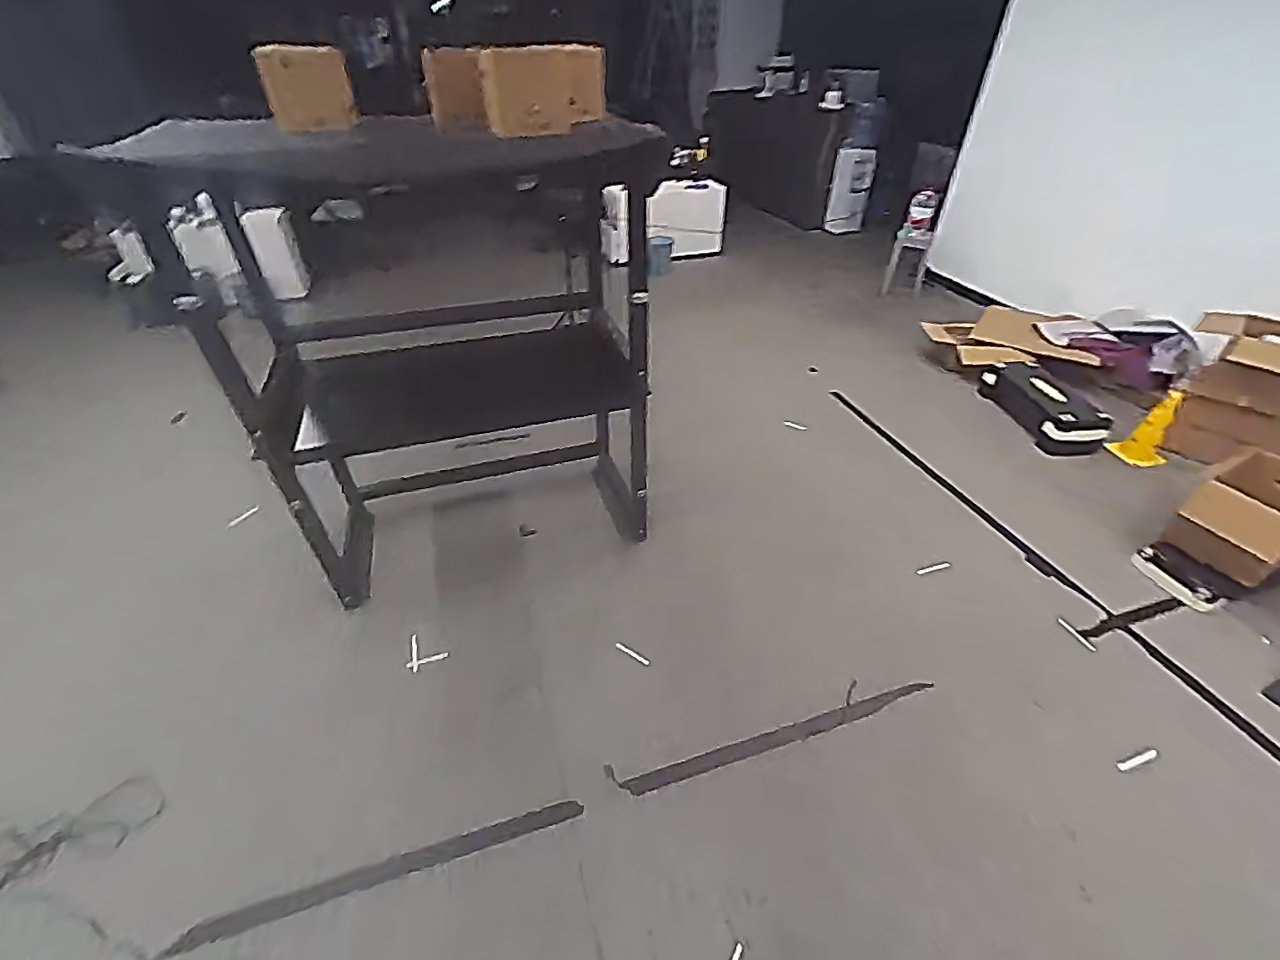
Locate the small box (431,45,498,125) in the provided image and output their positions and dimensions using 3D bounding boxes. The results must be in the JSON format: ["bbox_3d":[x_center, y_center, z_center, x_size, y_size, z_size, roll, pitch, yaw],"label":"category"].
[{"bbox_3d":[-0.463,-1.075,1.475,0.168,0.176,0.179,-13,40,-16],"label":"small box"}]

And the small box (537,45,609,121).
[{"bbox_3d":[-0.198,-1.146,1.560,0.168,0.176,0.179,-20,46,-22],"label":"small box"}]

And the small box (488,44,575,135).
[{"bbox_3d":[-0.262,-0.944,1.311,0.168,0.176,0.179,-14,40,-17],"label":"small box"}]

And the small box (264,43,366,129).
[{"bbox_3d":[-0.830,-1.023,1.405,0.168,0.176,0.179,-8,40,-10],"label":"small box"}]
